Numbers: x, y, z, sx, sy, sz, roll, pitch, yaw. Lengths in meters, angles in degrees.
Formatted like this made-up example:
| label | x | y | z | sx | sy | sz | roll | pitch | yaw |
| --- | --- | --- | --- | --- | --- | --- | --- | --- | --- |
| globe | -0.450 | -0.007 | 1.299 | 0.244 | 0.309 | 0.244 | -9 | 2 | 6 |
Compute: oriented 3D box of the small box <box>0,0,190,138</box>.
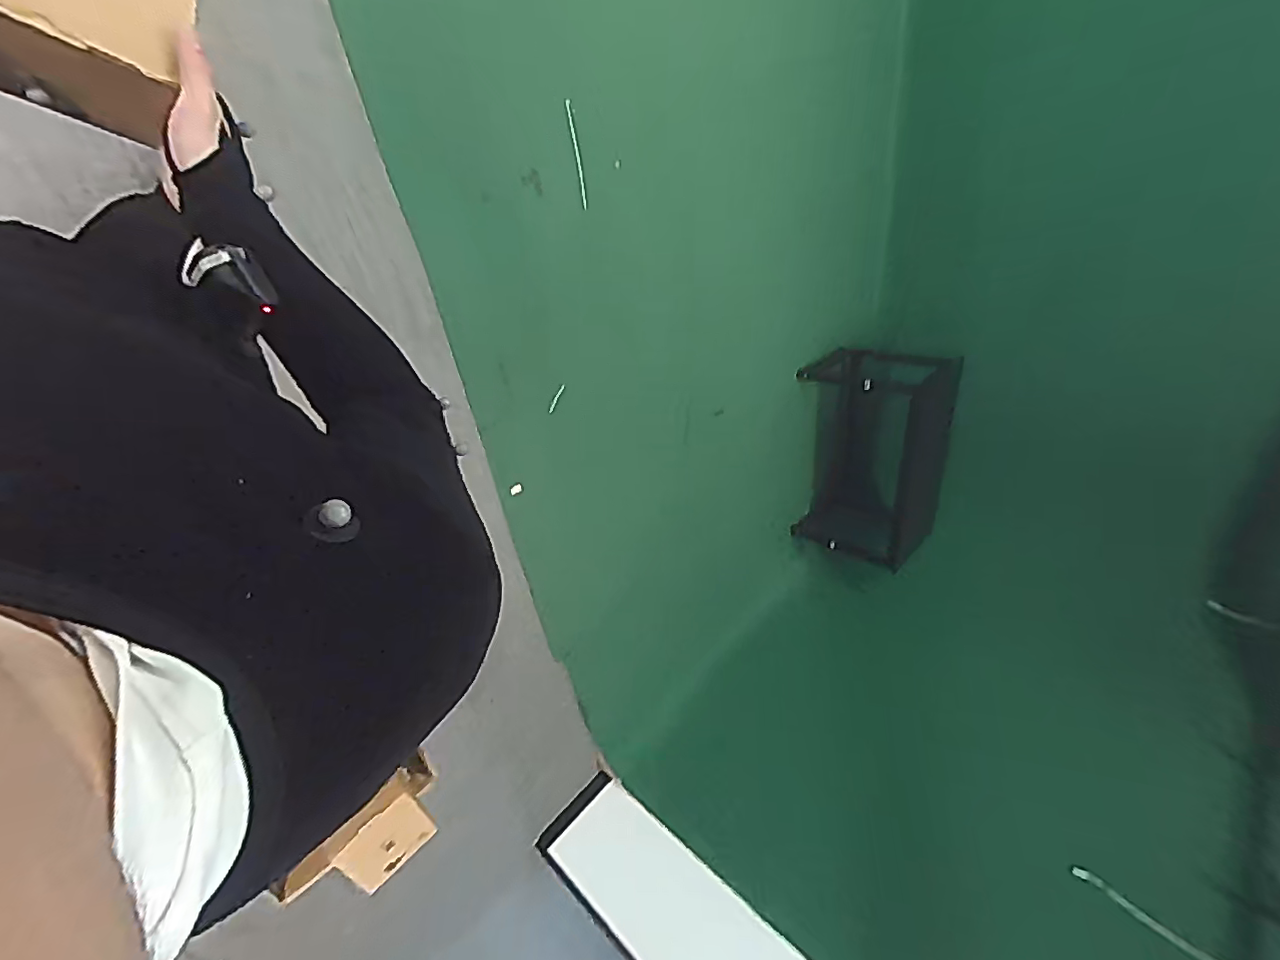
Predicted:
| label | x | y | z | sx | sy | sz | roll | pitch | yaw |
| --- | --- | --- | --- | --- | --- | --- | --- | --- | --- |
| small box | -0.472 | -0.417 | 0.425 | 0.168 | 0.176 | 0.179 | 4 | 94 | -47 |

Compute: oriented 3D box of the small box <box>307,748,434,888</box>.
| label | x | y | z | sx | sy | sz | roll | pitch | yaw |
| --- | --- | --- | --- | --- | --- | --- | --- | --- | --- |
| small box | -0.592 | 0.728 | 1.186 | 0.168 | 0.176 | 0.179 | -35 | 129 | -31 |
